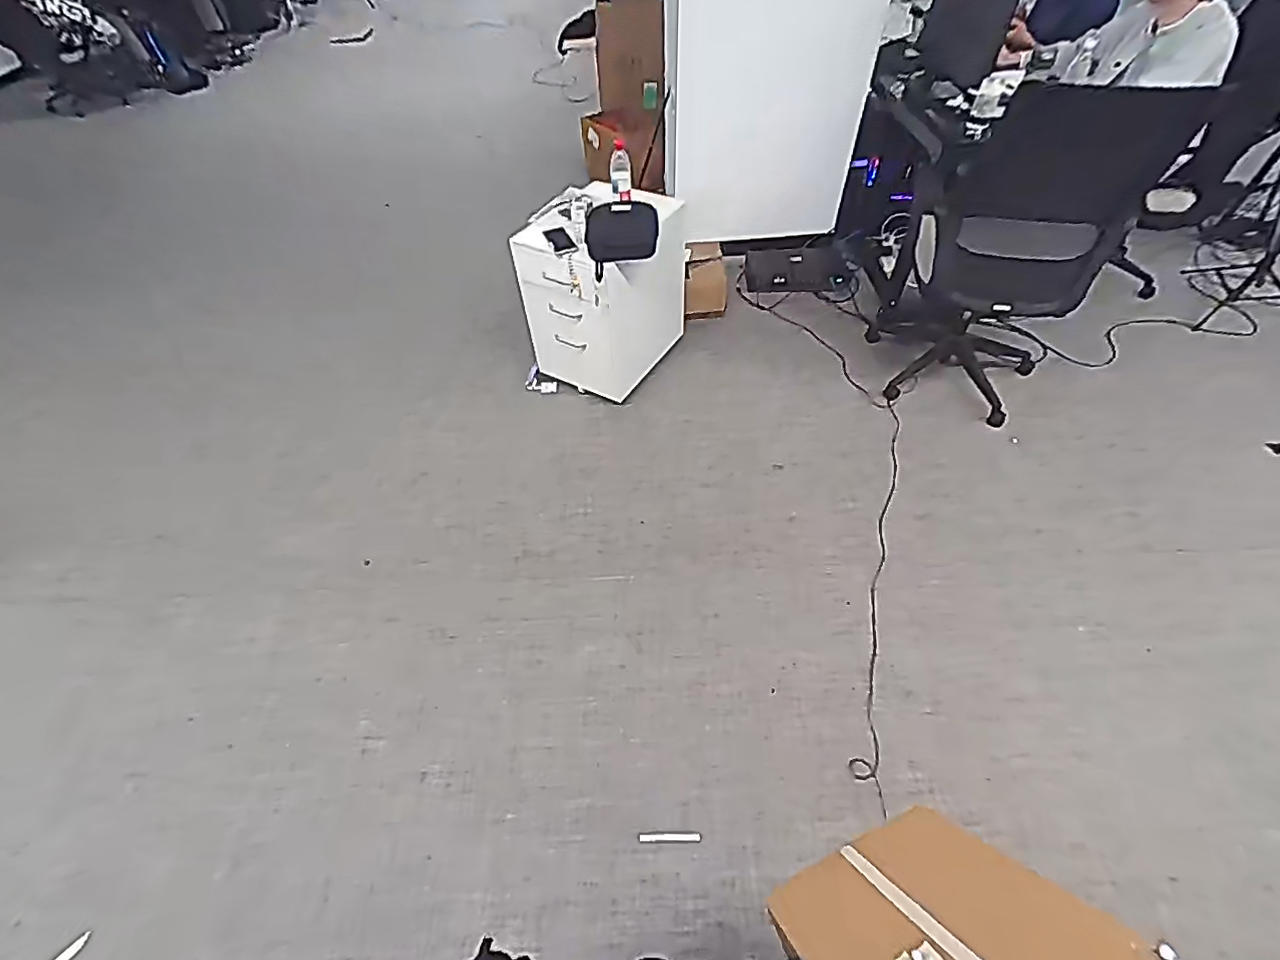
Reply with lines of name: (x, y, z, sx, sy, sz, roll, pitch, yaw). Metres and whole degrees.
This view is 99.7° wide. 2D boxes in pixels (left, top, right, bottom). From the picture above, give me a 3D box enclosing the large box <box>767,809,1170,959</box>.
large box: (0.421, 0.707, 0.679, 0.320, 0.408, 0.320, -22, 82, -11)
